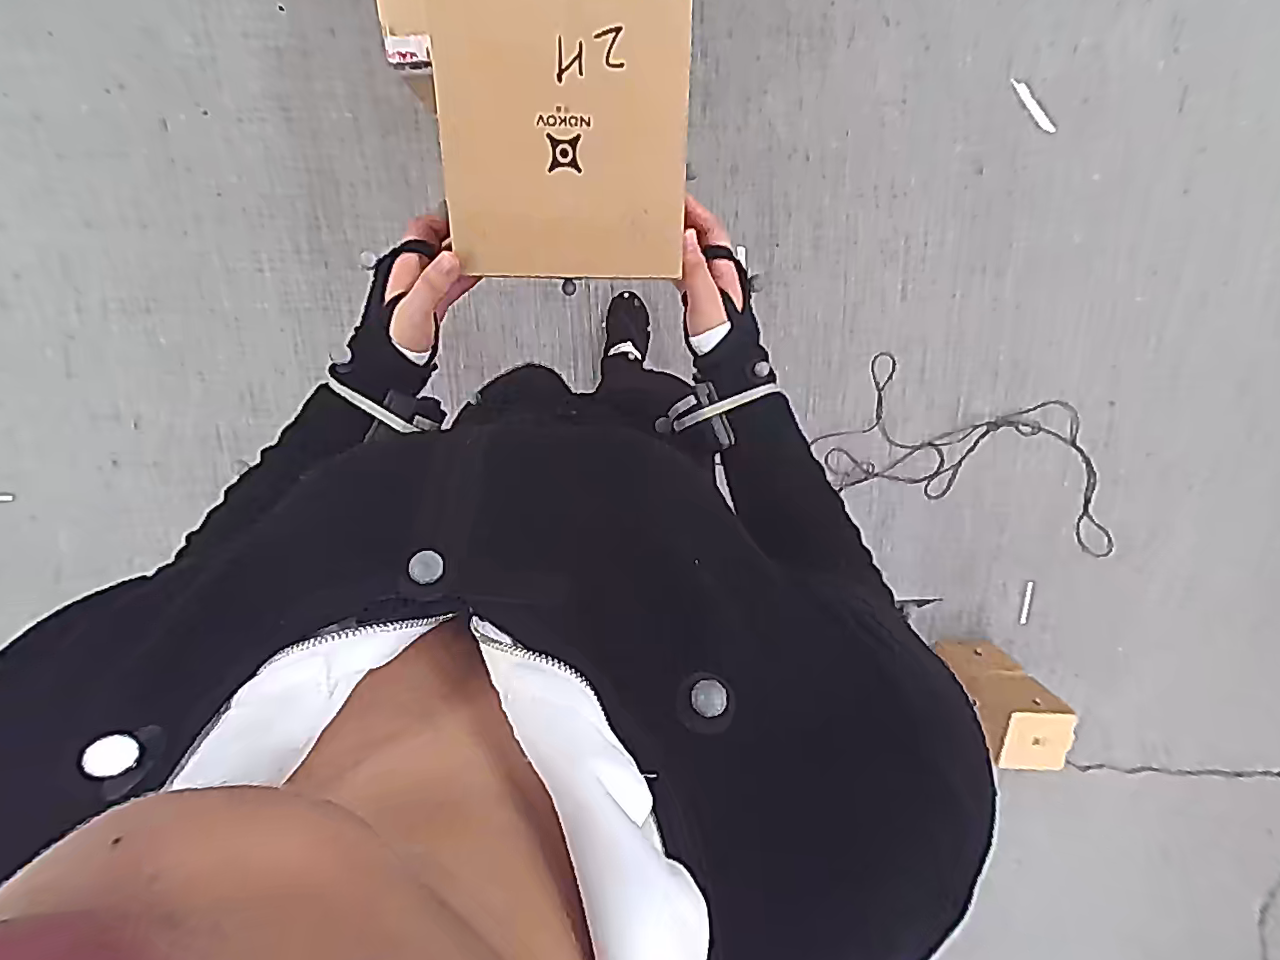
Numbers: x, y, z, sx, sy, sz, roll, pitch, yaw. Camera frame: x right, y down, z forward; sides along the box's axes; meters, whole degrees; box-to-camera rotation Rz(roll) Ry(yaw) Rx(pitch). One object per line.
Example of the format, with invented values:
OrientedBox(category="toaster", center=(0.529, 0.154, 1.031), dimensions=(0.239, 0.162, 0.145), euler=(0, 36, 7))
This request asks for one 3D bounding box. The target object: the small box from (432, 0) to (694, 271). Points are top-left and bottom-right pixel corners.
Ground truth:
OrientedBox(category="small box", center=(-0.053, -0.265, 0.435), dimensions=(0.168, 0.176, 0.179), euler=(-1, 111, -4))

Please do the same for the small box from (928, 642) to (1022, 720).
OrientedBox(category="small box", center=(0.982, 0.595, 1.601), dimensions=(0.168, 0.176, 0.179), euler=(-1, 104, -2))

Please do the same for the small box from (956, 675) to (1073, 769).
OrientedBox(category="small box", center=(0.992, 0.640, 1.444), dimensions=(0.179, 0.176, 0.168), euler=(3, 103, -2))
